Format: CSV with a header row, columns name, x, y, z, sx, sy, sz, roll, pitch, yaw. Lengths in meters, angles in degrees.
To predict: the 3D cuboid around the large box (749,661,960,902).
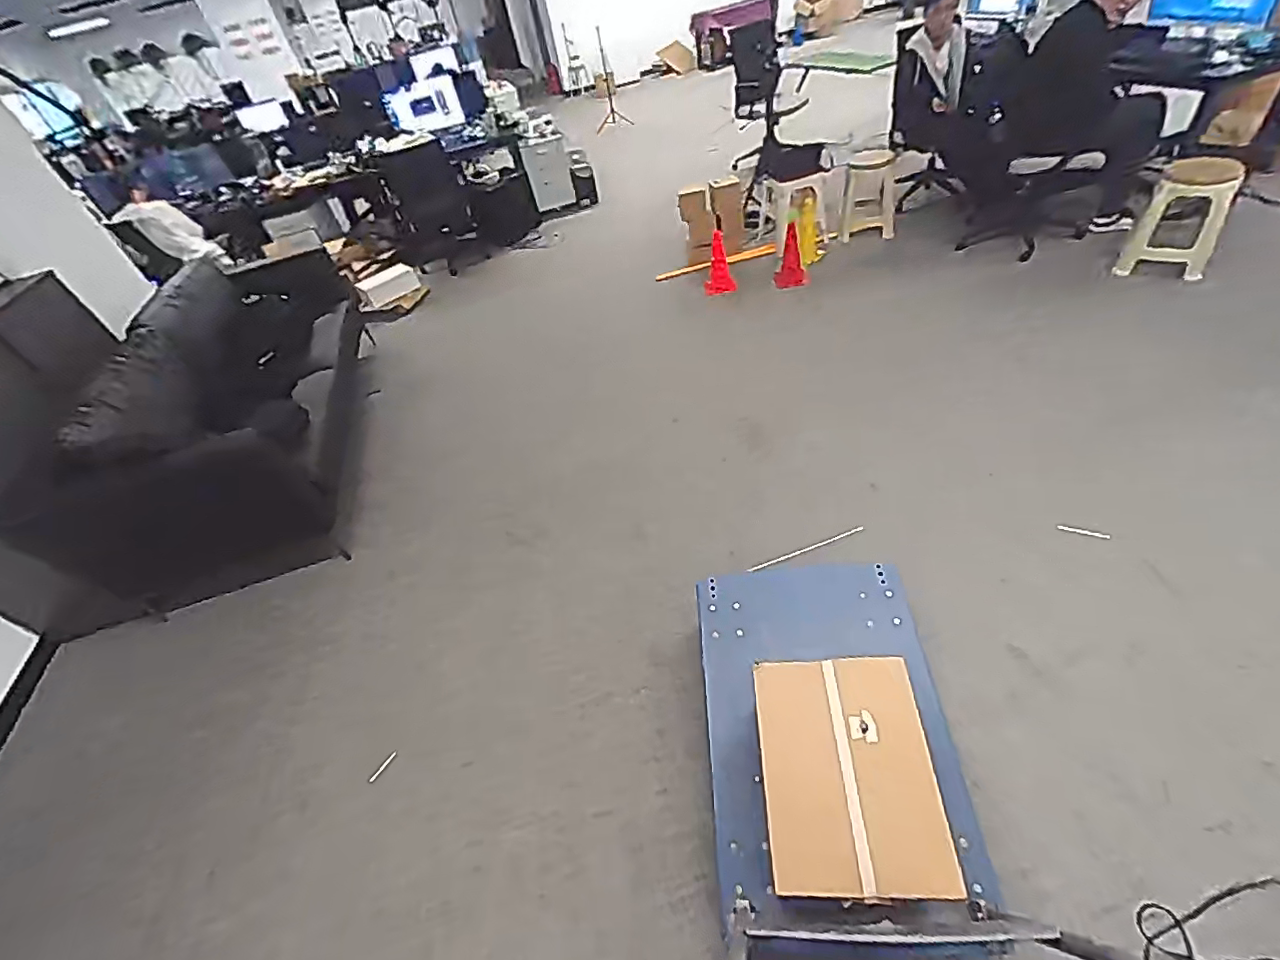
name,x,y,z,sx,sy,sz,roll,pitch,yaw
large box,0.417,0.645,1.155,0.320,0.320,0.408,-5,52,9
